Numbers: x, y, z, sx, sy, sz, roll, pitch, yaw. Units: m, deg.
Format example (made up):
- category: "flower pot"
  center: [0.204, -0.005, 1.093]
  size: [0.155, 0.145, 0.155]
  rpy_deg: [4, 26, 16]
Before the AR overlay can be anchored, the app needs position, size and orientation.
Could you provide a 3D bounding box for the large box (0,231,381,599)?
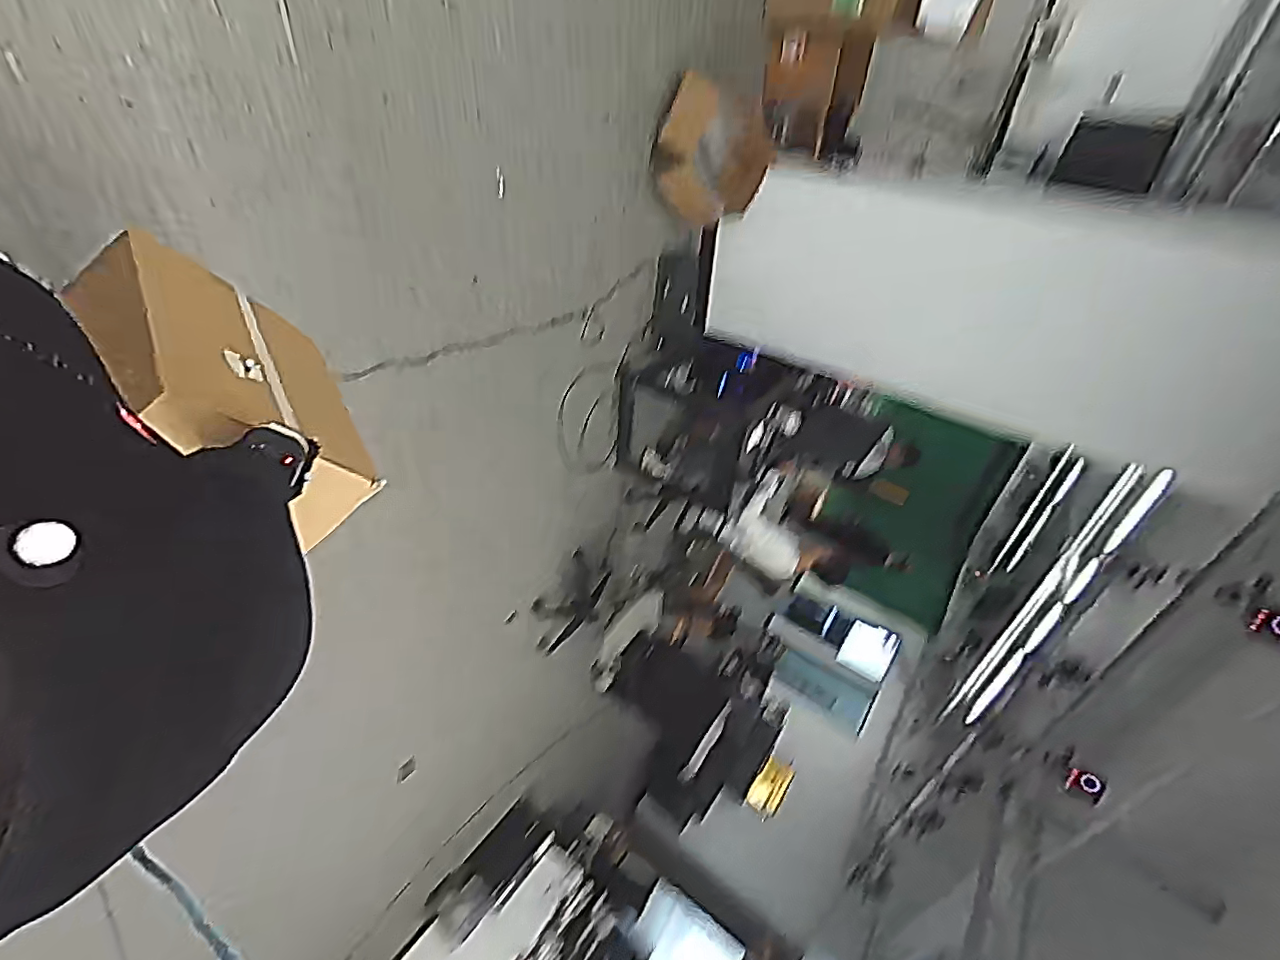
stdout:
- category: "large box"
  center: [-0.690, -0.084, 0.837]
  size: [0.320, 0.408, 0.320]
  rpy_deg: [-40, 152, 4]
